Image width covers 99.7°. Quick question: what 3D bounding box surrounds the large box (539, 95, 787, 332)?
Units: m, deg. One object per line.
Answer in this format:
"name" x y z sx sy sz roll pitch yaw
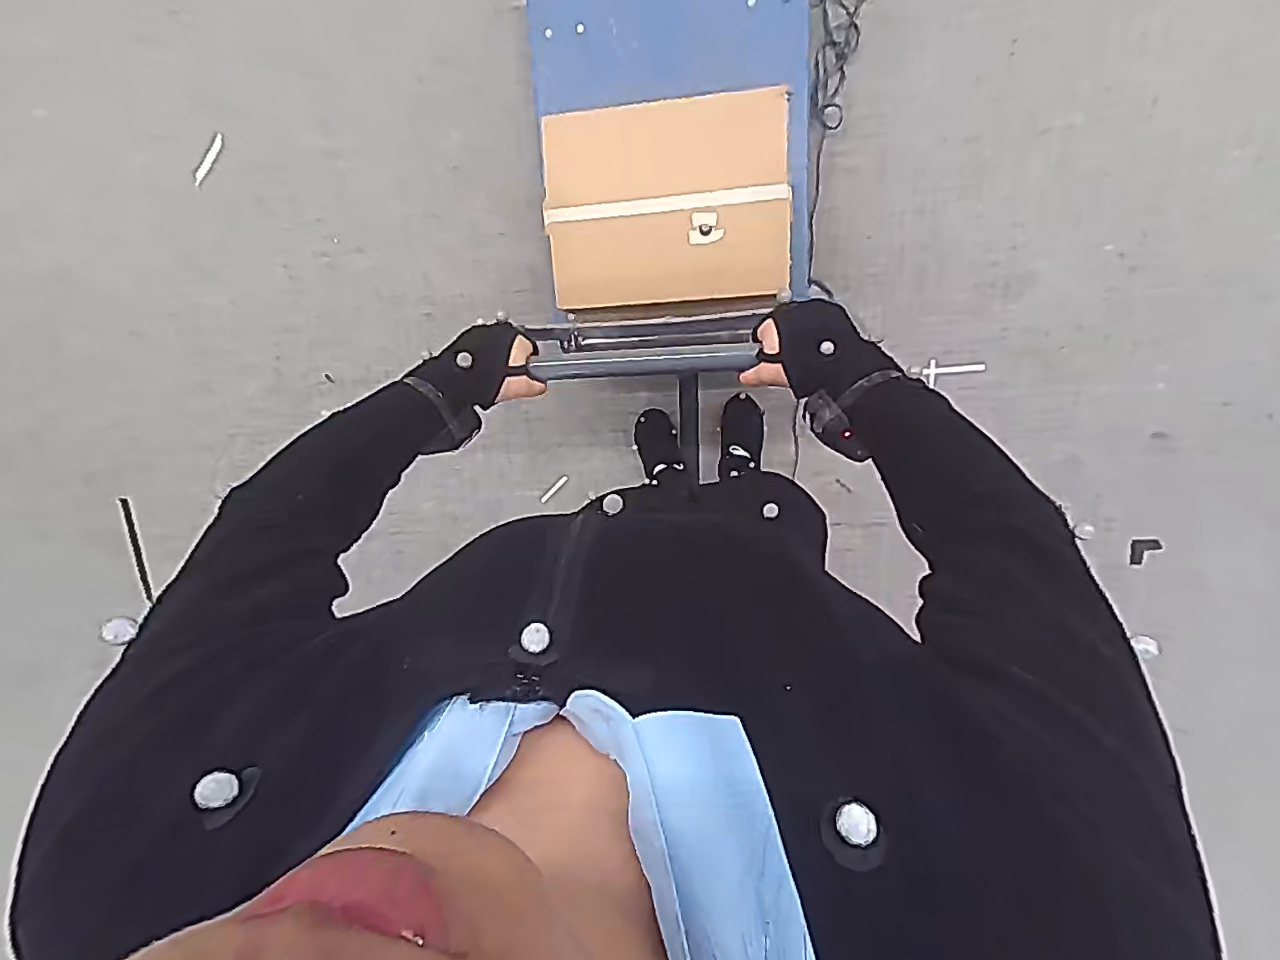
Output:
"large box" 0.055 -0.471 1.043 0.408 0.320 0.320 -2 102 8
